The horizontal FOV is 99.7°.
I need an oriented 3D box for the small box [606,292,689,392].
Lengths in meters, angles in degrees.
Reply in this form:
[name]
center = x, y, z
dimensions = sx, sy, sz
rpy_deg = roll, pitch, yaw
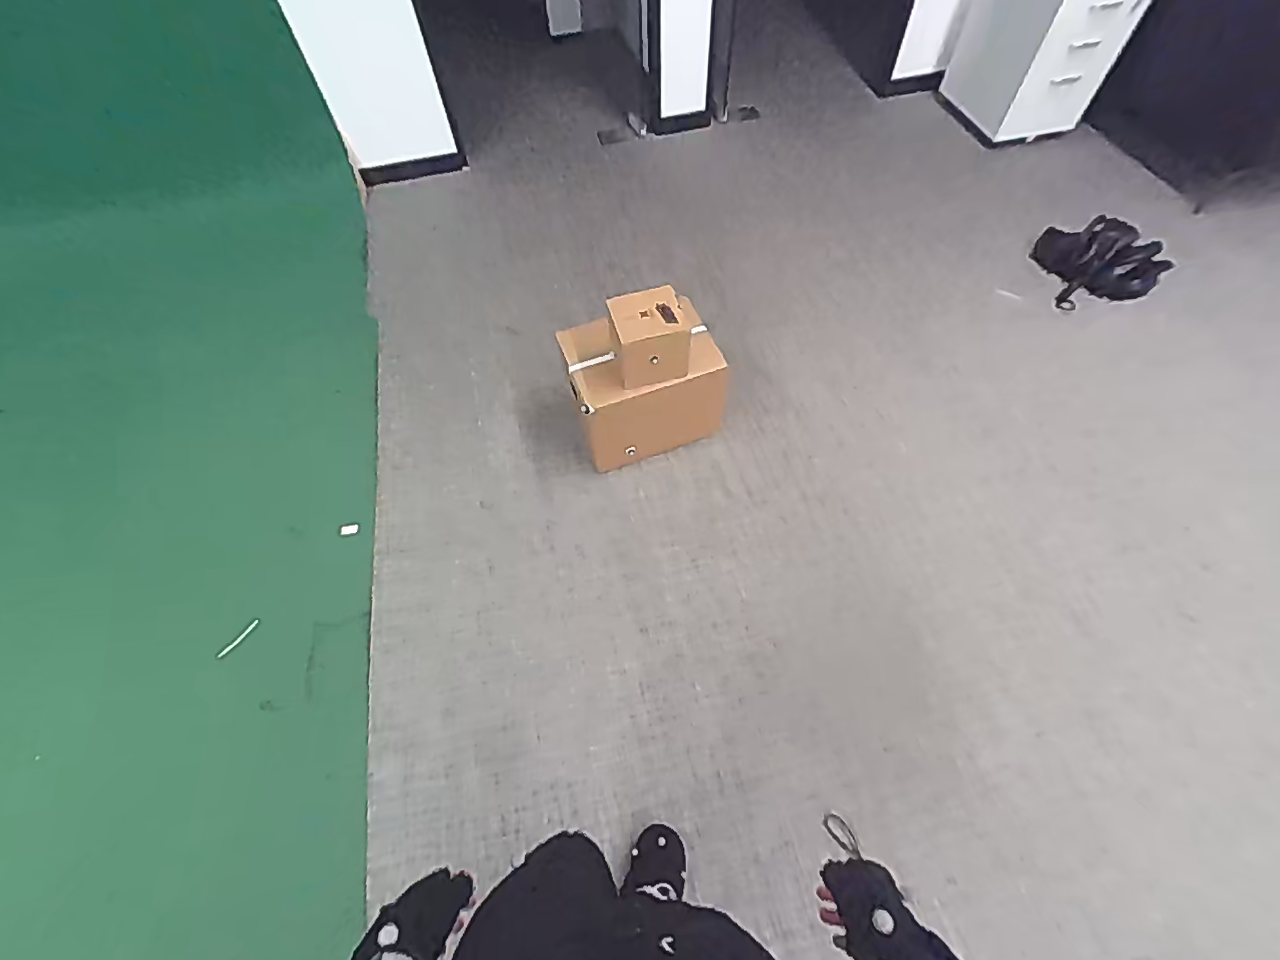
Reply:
[small box]
center = 0.018, -0.356, 1.412
dimensions = 0.179, 0.176, 0.168
rpy_deg = -14, 60, -6
